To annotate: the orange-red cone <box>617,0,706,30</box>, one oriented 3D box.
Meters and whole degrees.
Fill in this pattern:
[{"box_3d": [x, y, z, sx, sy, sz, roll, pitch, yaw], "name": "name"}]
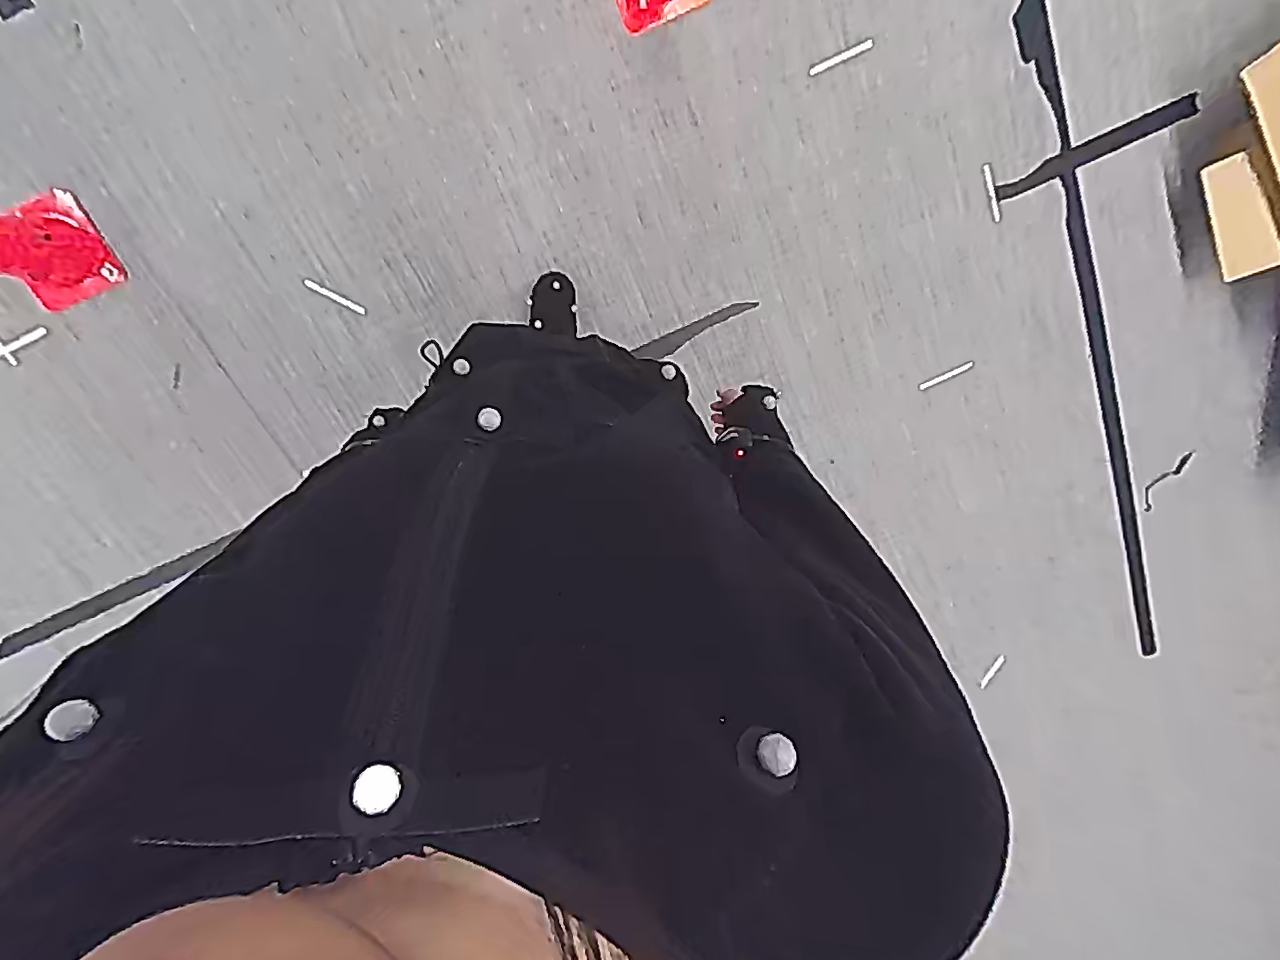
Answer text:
[{"box_3d": [0.048, -1.011, 0.945, 0.199, 0.360, 0.198, -22, 108, 0], "name": "orange-red cone"}]
